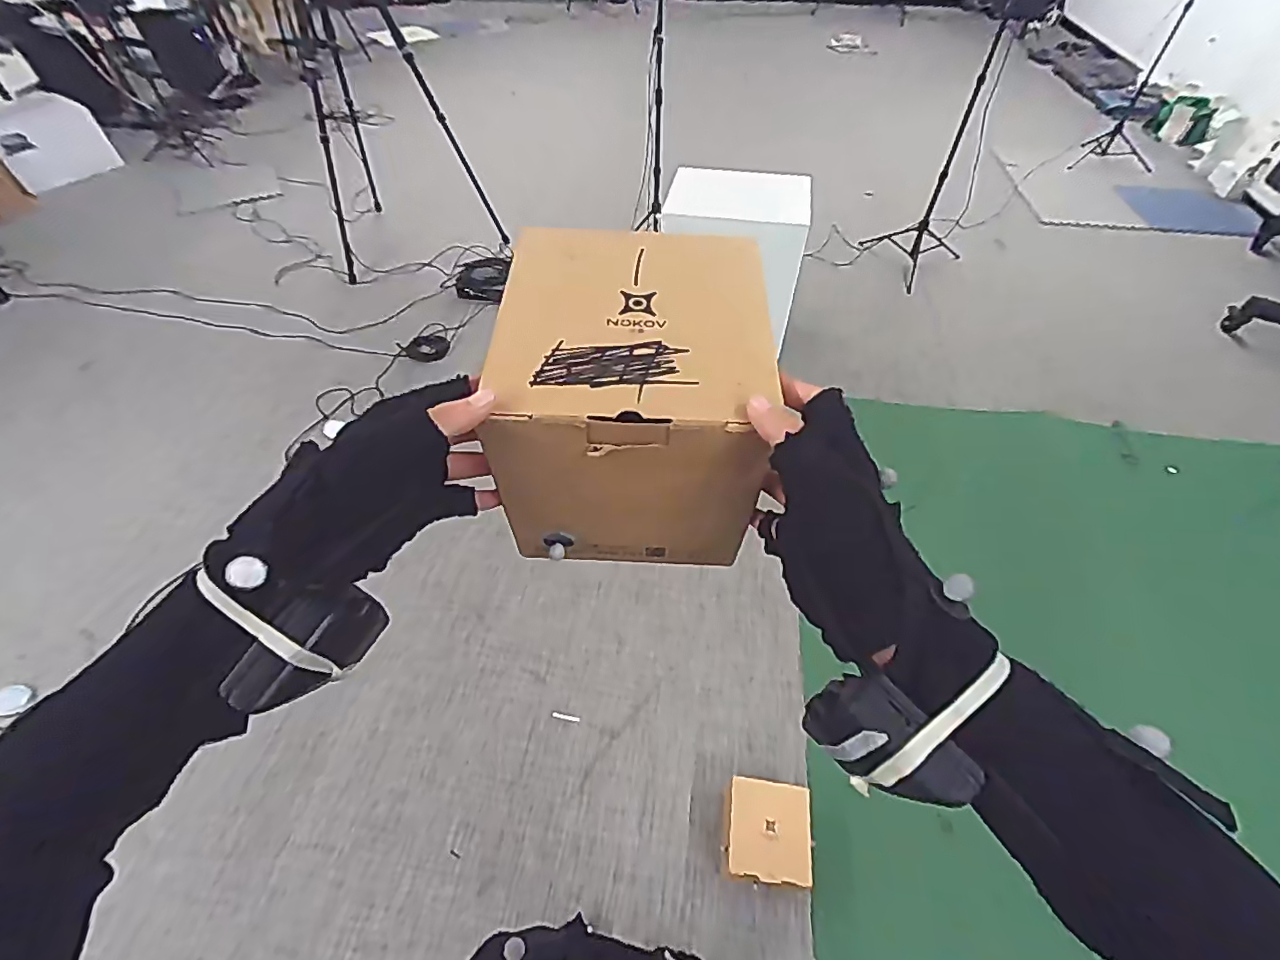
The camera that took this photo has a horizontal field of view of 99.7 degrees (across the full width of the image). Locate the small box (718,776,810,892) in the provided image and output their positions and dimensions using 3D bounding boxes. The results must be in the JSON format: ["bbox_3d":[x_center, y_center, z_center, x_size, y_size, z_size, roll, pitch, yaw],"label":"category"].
[{"bbox_3d":[0.262,0.767,1.169,0.168,0.176,0.179,6,51,6],"label":"small box"}]
